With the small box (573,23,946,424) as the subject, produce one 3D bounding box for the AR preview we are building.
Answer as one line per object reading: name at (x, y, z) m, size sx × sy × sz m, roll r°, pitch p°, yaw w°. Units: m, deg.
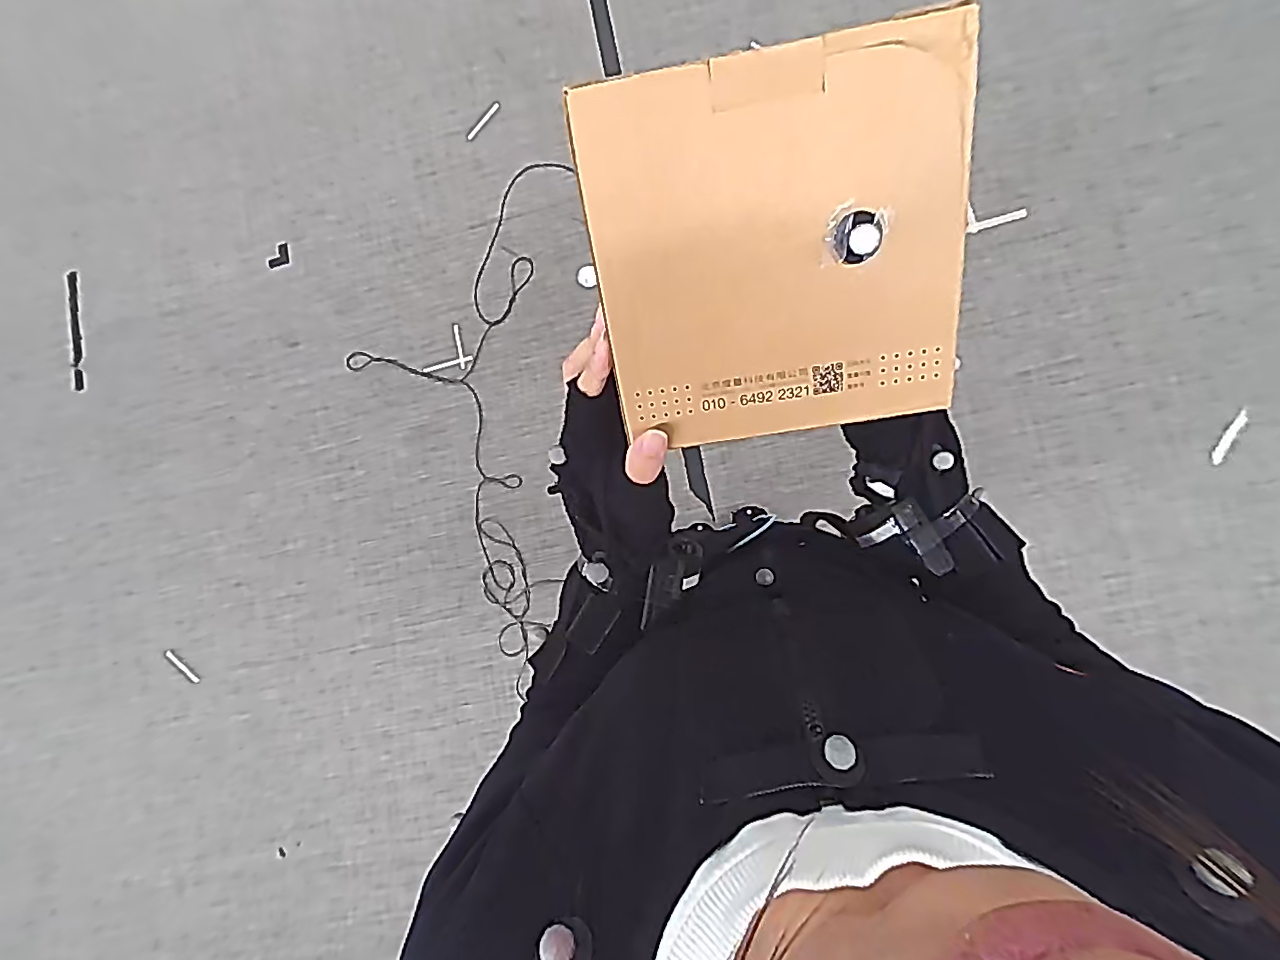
small box at (0.067, -0.140, 0.341) m, size 0.168 × 0.179 × 0.176 m, roll -7°, pitch 115°, yaw 7°
